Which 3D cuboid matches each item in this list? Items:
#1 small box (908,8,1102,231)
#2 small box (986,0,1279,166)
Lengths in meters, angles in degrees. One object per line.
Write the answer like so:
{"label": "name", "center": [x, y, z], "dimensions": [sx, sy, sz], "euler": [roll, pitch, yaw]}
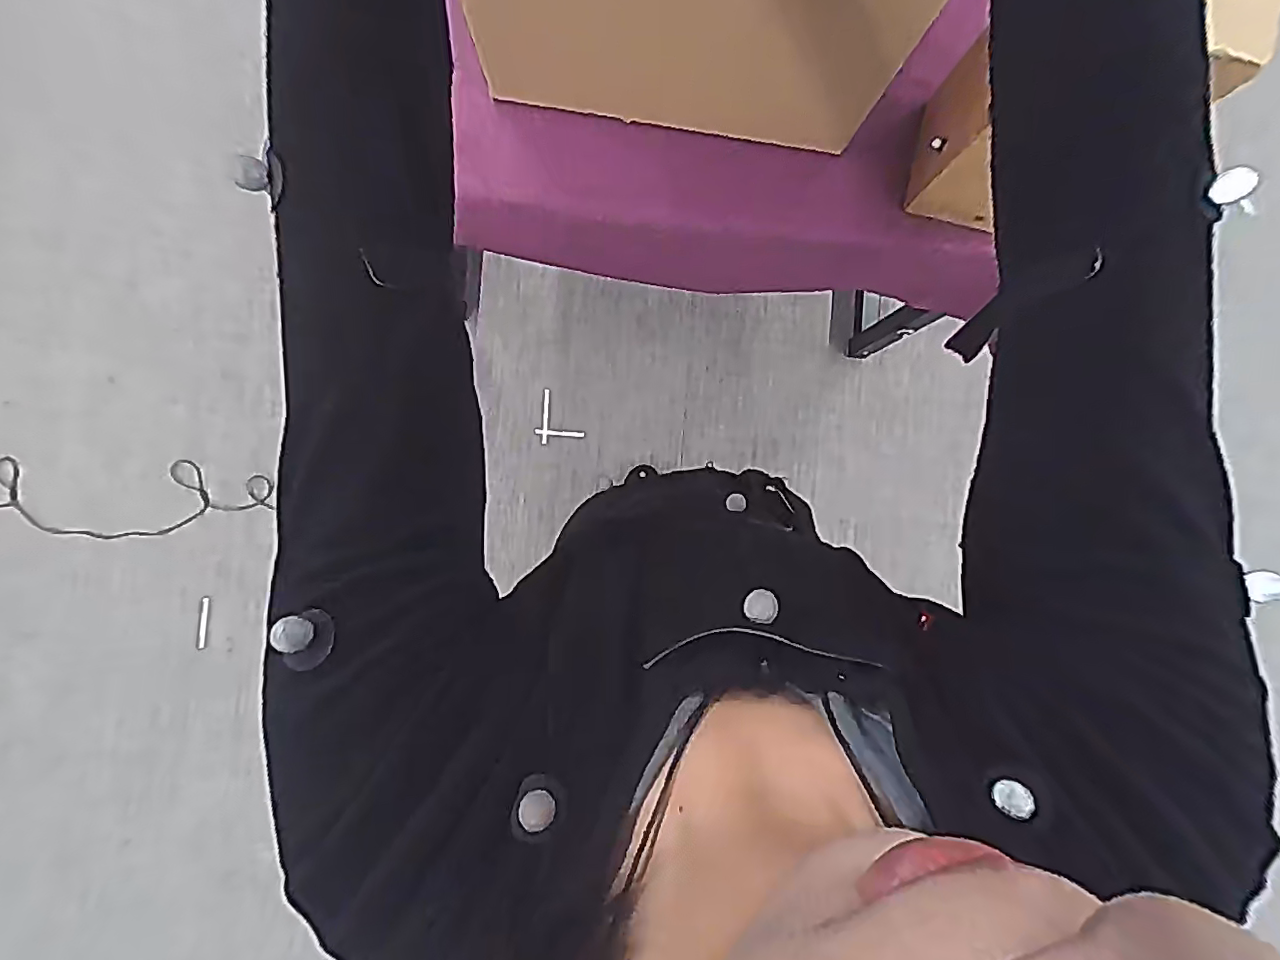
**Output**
{"label": "small box", "center": [0.497, -0.473, 0.740], "dimensions": [0.168, 0.176, 0.179], "euler": [12, 87, -3]}
{"label": "small box", "center": [0.513, -0.479, 0.576], "dimensions": [0.168, 0.176, 0.179], "euler": [17, 89, -3]}
